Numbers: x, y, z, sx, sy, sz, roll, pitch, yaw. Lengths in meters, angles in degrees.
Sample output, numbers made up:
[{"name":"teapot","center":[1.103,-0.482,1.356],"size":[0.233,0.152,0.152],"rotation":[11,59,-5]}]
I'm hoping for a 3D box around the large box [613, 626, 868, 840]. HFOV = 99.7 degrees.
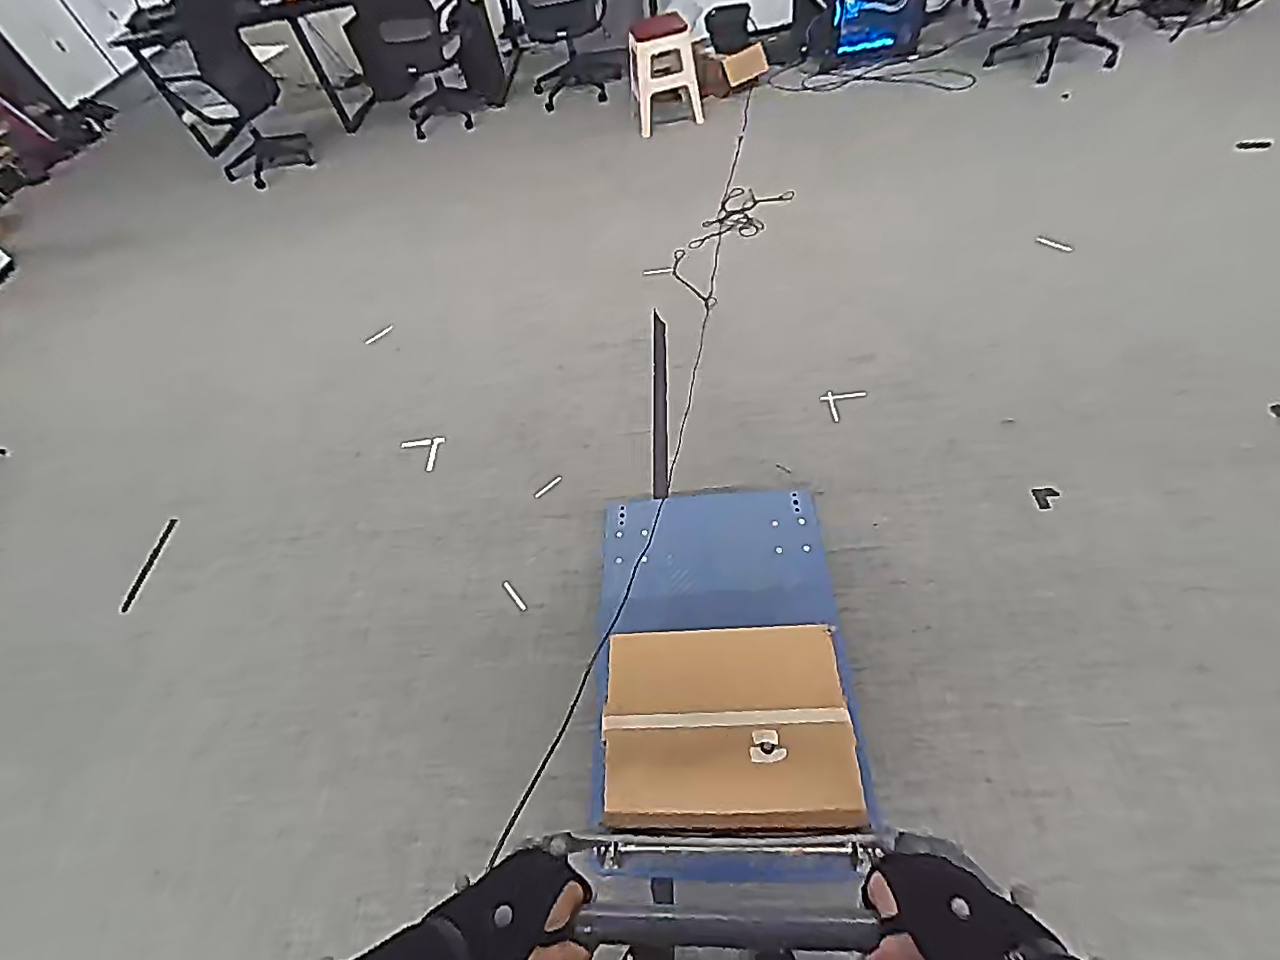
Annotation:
[{"name":"large box","center":[0.169,0.499,1.044],"size":[0.408,0.320,0.320],"rotation":[-5,55,6]}]
